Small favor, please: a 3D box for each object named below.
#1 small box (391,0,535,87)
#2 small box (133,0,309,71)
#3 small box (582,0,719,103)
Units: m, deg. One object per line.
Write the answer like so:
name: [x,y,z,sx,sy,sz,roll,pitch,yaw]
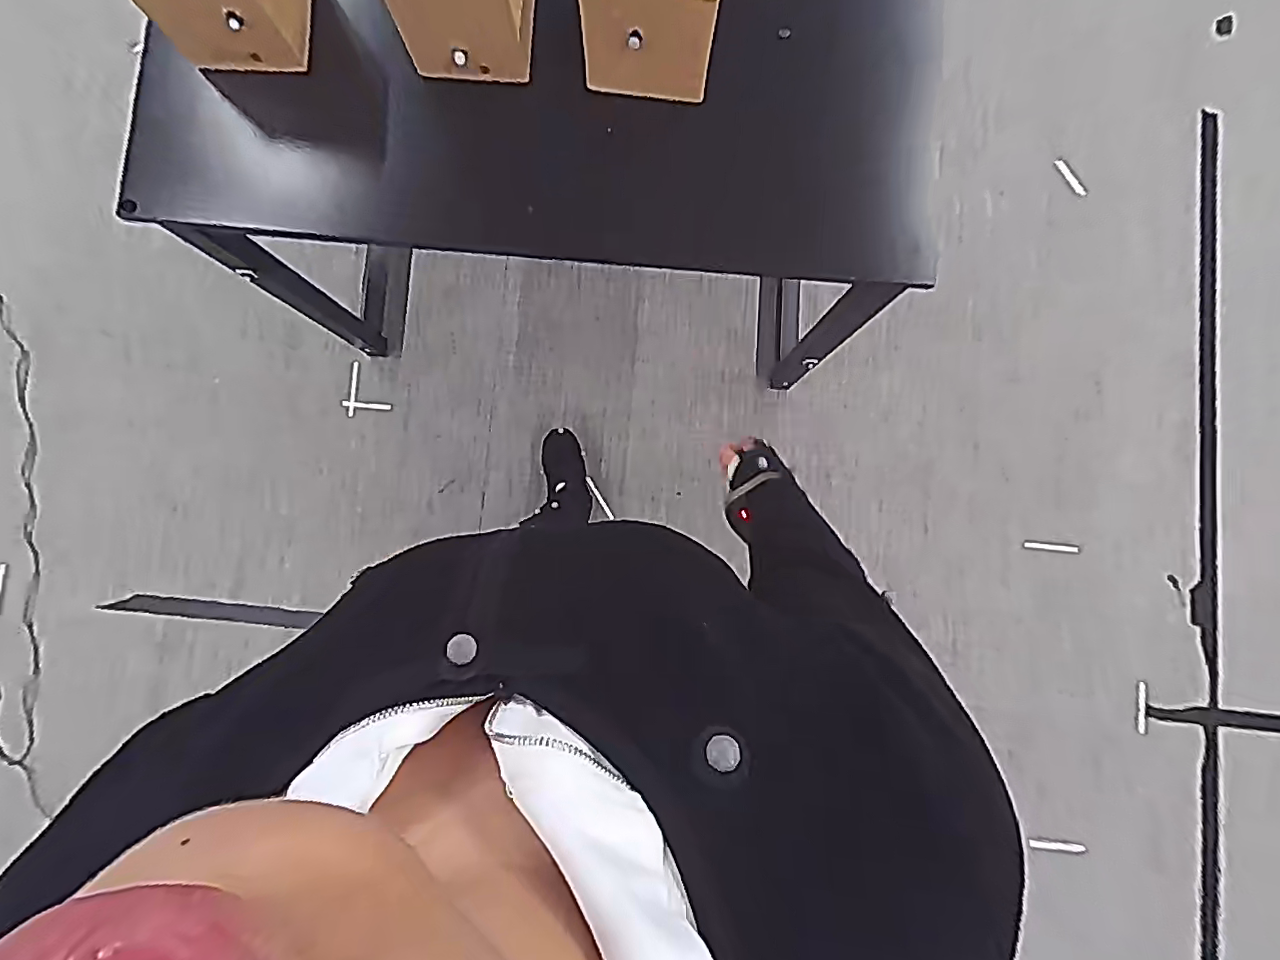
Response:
small box: [-0.240,-0.685,0.733,0.168,0.176,0.179,3,86,-1]
small box: [-0.573,-0.694,0.725,0.168,0.176,0.179,1,85,-3]
small box: [0.018,-0.657,0.738,0.179,0.176,0.168,6,85,0]
